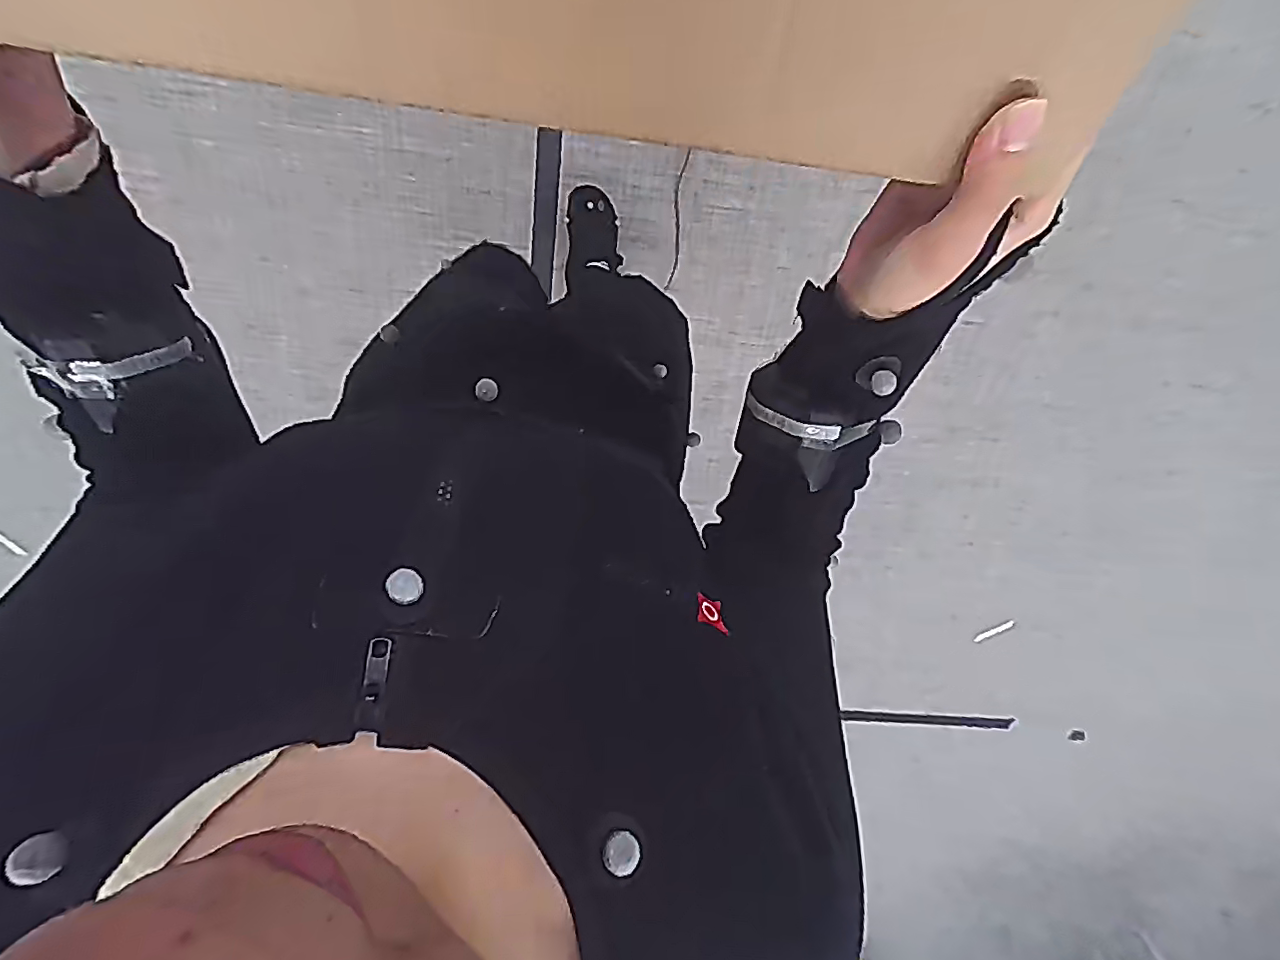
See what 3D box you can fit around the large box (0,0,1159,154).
[{"bbox_3d":[-0.025,-0.343,0.150,0.408,0.320,0.320,4,146,-6],"label":"large box"}]
